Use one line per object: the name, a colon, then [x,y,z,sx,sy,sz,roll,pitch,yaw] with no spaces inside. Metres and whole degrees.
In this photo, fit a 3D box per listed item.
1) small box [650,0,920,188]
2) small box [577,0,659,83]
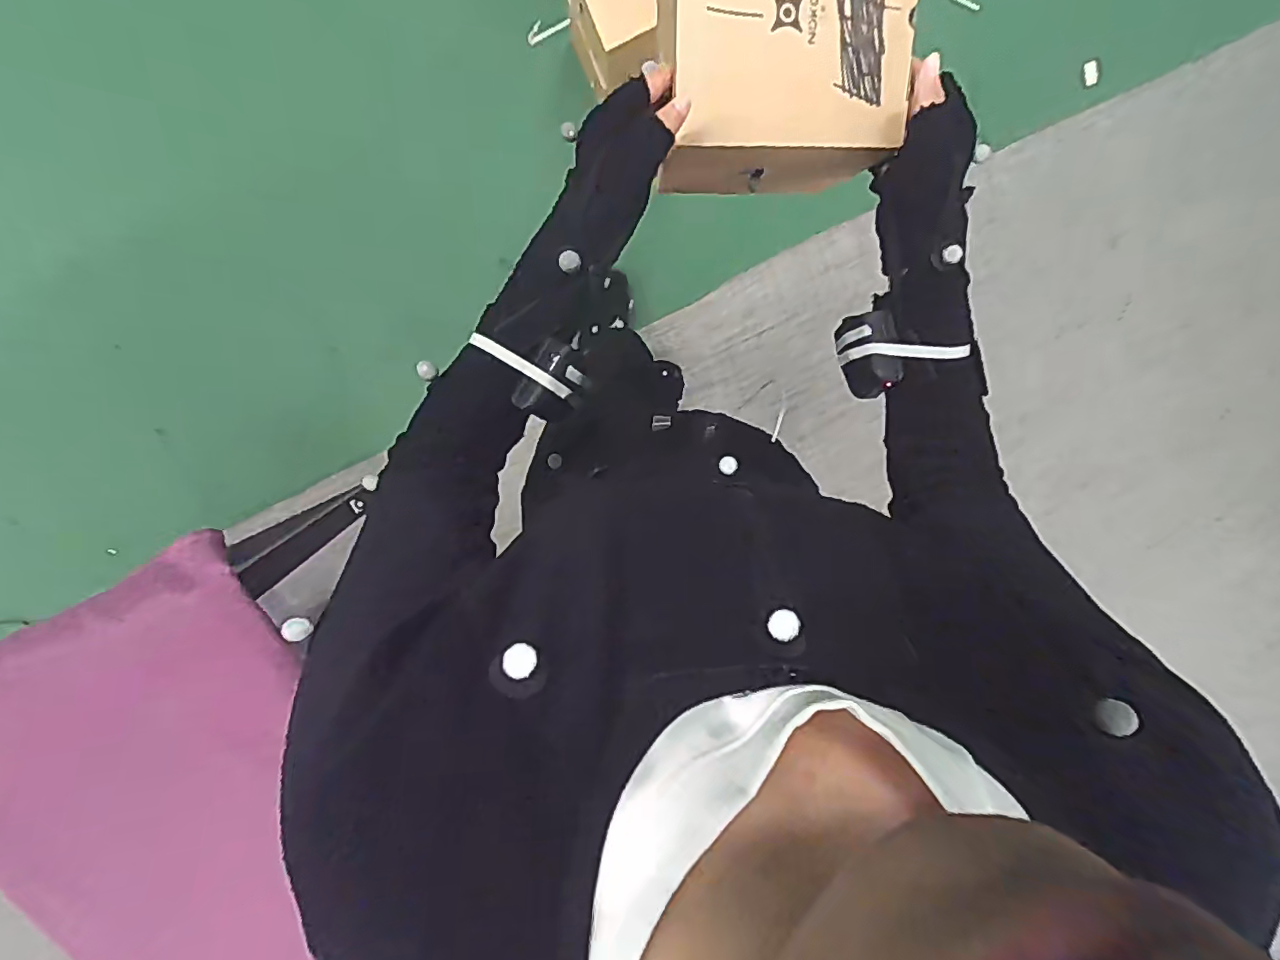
small box: [0.105,-0.356,0.450,0.179,0.176,0.168,2,105,-3]
small box: [-0.013,-0.868,0.977,0.179,0.176,0.168,-24,106,4]
